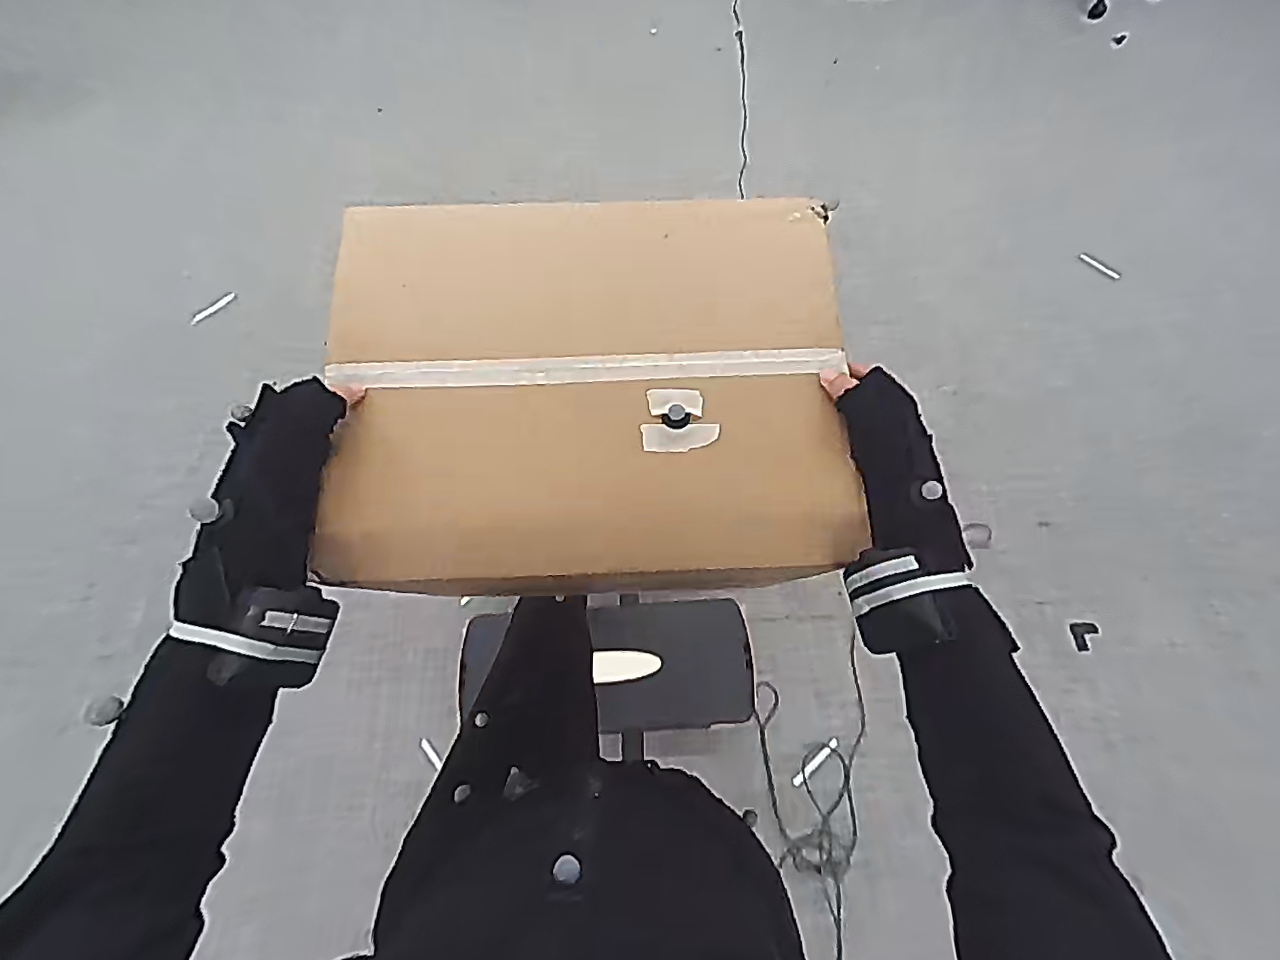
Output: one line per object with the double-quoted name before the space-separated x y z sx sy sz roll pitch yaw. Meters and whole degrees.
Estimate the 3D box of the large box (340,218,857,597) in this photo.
"large box" -0.039 -0.045 0.592 0.408 0.320 0.320 -2 76 -1
